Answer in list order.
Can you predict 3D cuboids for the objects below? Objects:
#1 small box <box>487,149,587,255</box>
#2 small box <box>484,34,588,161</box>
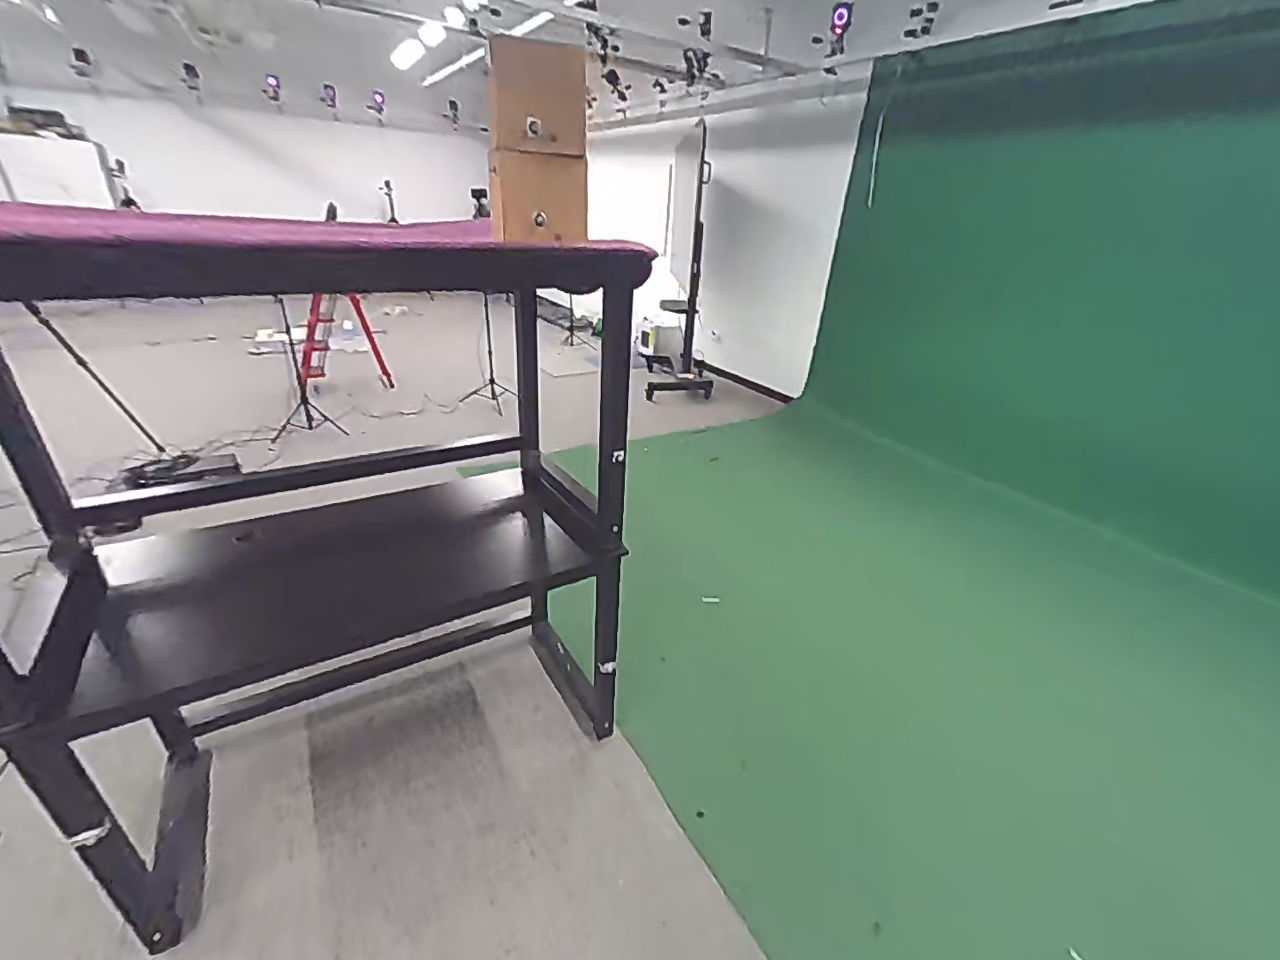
[{"bbox_3d":[-0.209,-0.553,1.083,0.168,0.176,0.179,-8,30,-21],"label":"small box"},{"bbox_3d":[-0.196,-0.693,1.002,0.168,0.176,0.179,-7,31,-17],"label":"small box"}]
